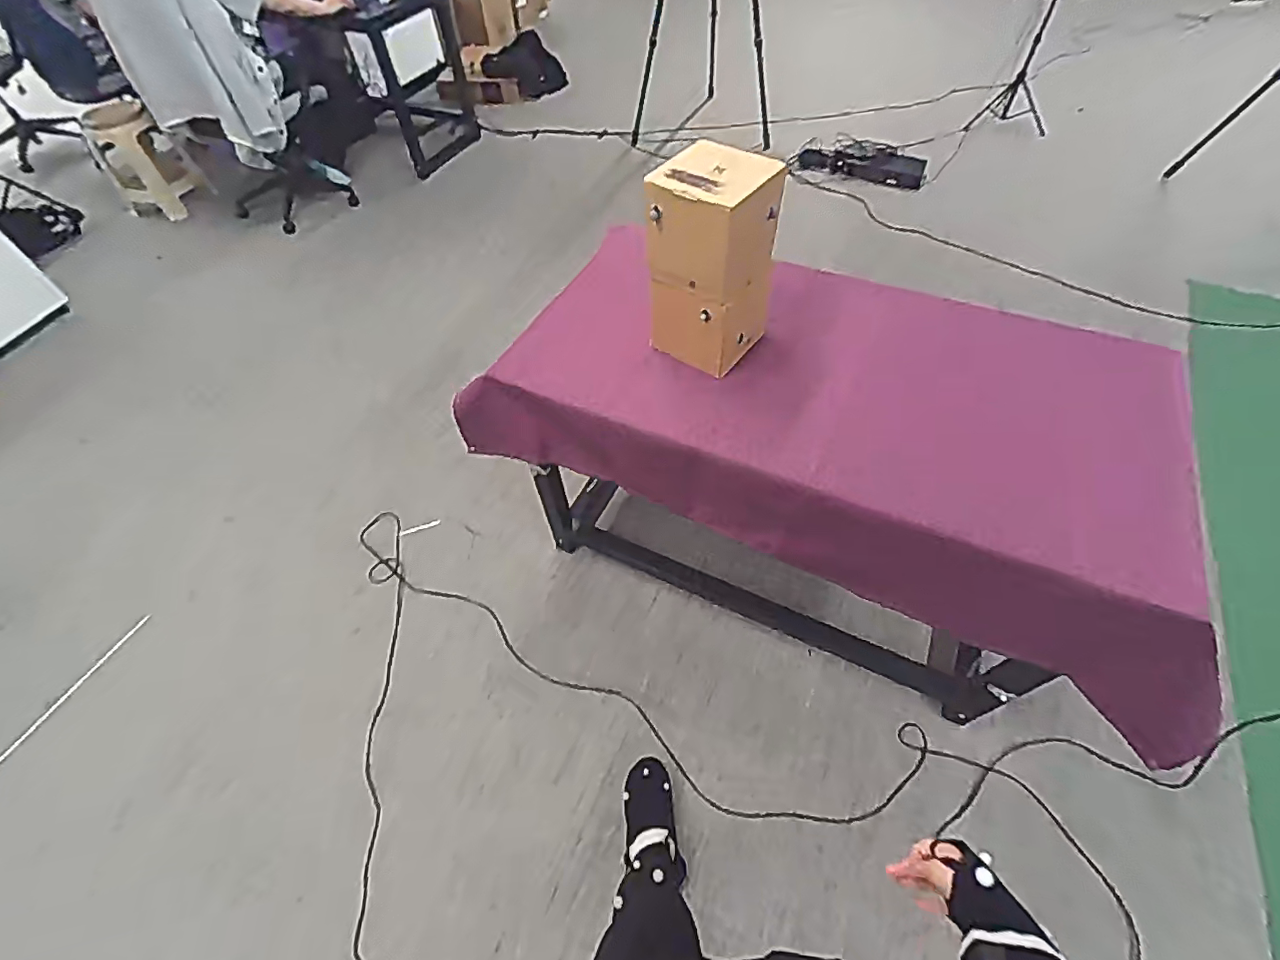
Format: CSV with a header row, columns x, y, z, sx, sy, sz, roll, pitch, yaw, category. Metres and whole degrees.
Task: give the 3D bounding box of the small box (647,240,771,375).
x,y,z,sx,sy,sz,roll,pitch,yaw,category
0.130,-0.337,1.067,0.179,0.176,0.168,31,61,22,small box
